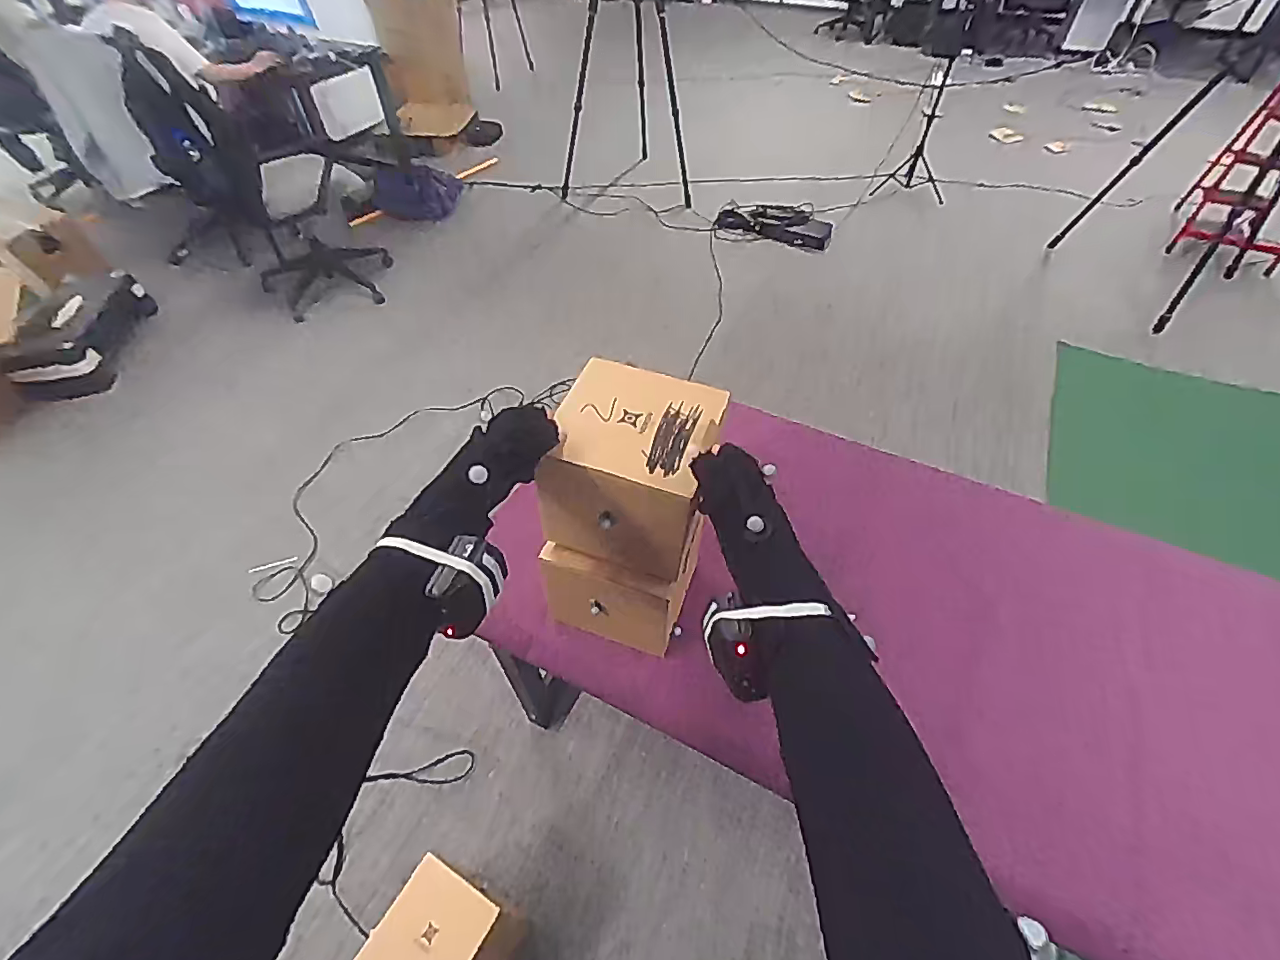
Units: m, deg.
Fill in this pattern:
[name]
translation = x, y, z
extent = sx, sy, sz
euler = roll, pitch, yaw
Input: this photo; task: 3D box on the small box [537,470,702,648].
[small box]
translation = -0.024, 0.118, 0.775
extent = 0.179, 0.176, 0.168
euler = 17, 50, 13
